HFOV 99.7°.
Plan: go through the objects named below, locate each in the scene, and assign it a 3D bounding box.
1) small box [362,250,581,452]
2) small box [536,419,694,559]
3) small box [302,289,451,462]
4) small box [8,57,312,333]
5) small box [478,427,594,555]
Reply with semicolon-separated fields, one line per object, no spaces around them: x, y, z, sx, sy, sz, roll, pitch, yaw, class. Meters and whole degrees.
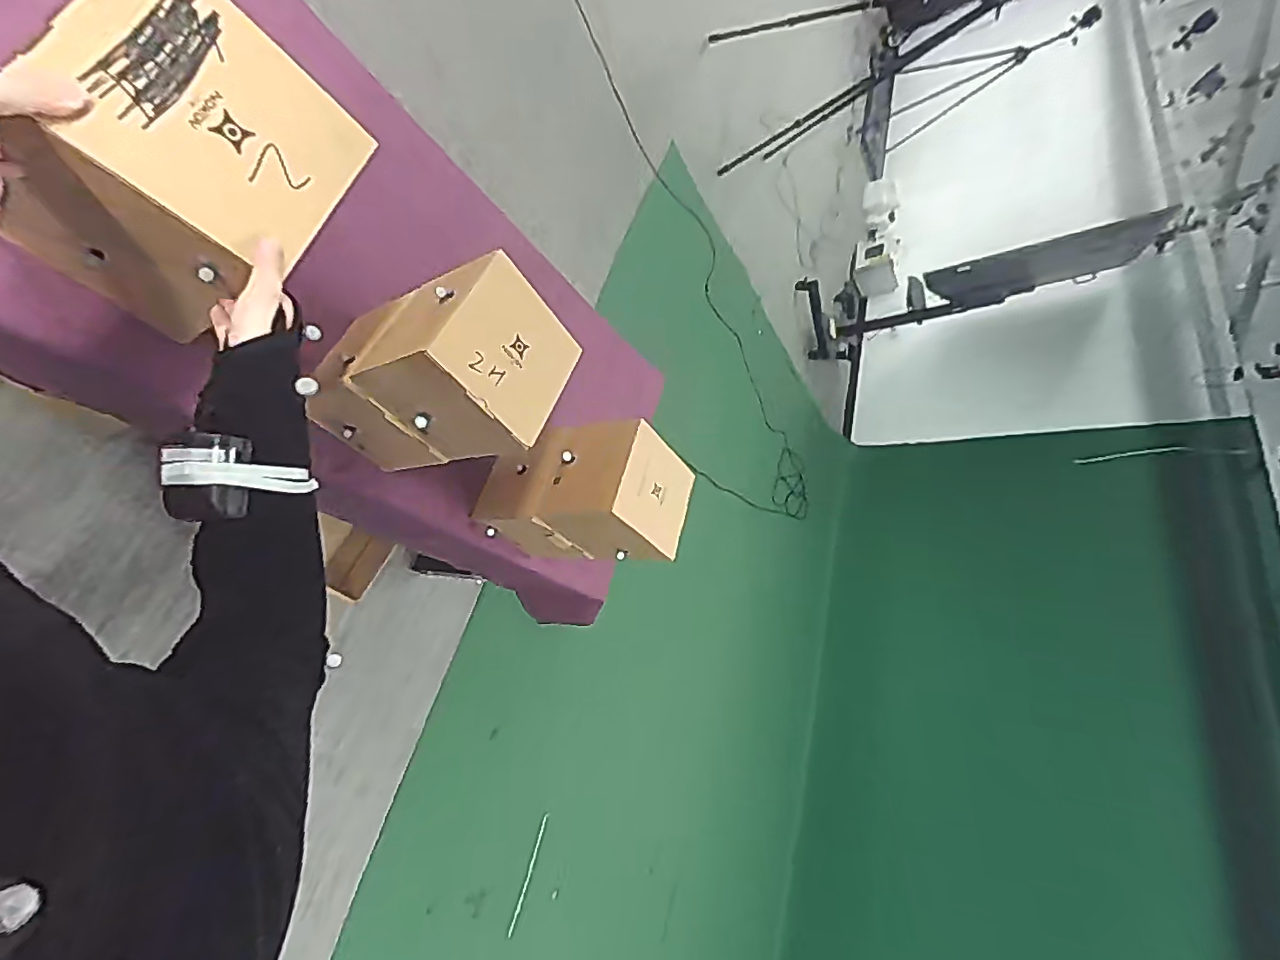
-0.212;-0.153;0.688;0.168;0.176;0.179;48;52;-39;small box
-0.038;0.018;0.901;0.179;0.176;0.168;43;54;-41;small box
-0.345;-0.142;0.786;0.168;0.176;0.179;48;53;-39;small box
-0.508;-0.283;0.580;0.179;0.176;0.168;41;57;-42;small box
-0.170;0.025;0.997;0.168;0.176;0.179;42;55;-42;small box
